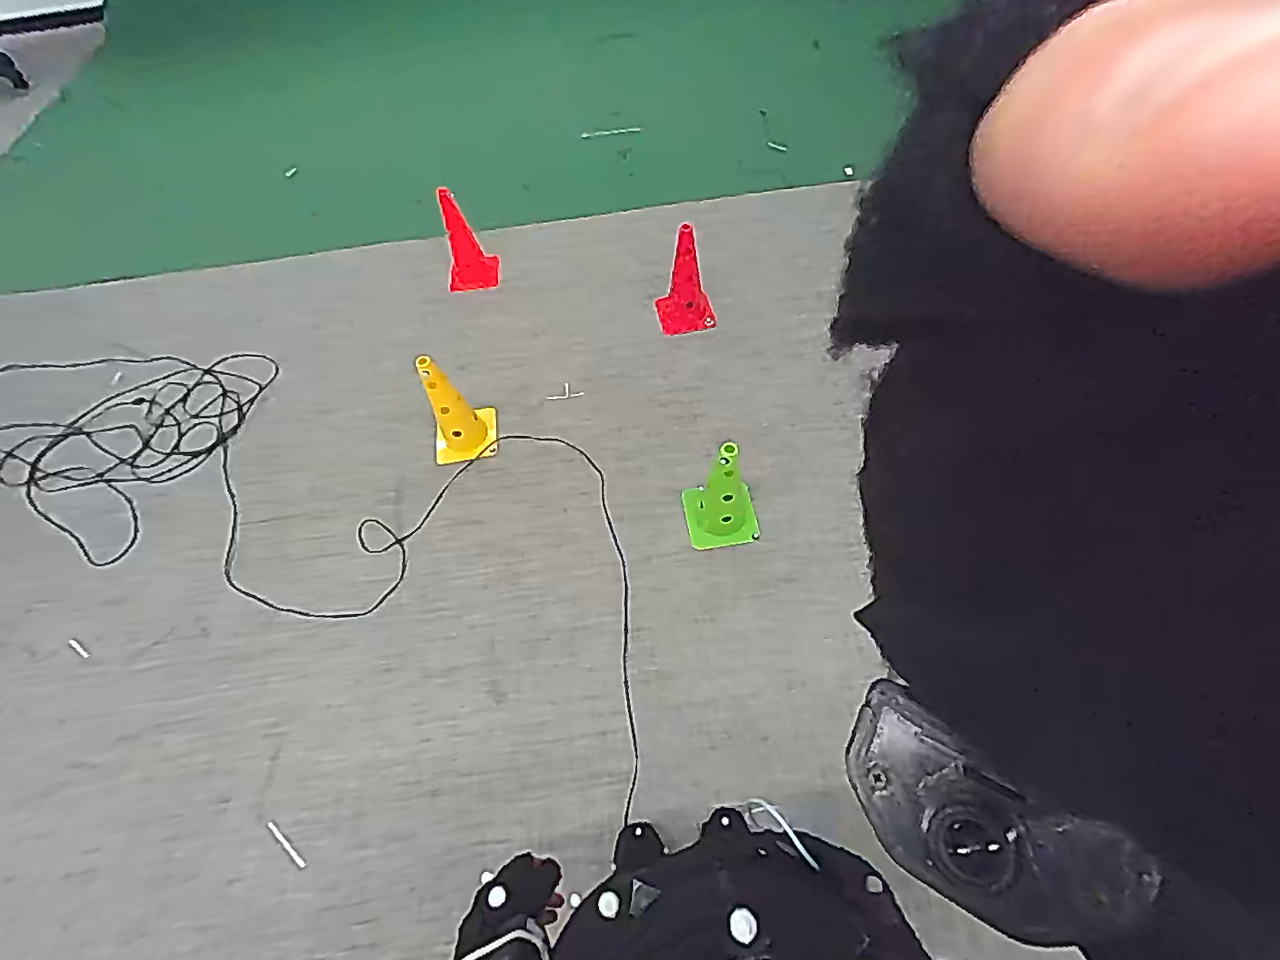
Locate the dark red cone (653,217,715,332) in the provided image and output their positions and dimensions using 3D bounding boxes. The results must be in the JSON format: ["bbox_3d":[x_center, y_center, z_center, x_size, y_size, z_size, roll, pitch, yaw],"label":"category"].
[{"bbox_3d":[0.148,-0.715,1.861,0.202,0.394,0.201,-13,58,-3],"label":"dark red cone"}]

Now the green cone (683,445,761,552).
[{"bbox_3d":[0.222,0.019,1.444,0.202,0.368,0.200,-10,58,0],"label":"green cone"}]

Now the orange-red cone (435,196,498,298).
[{"bbox_3d":[-0.696,-0.913,2.079,0.198,0.360,0.199,-9,60,1],"label":"orange-red cone"}]
